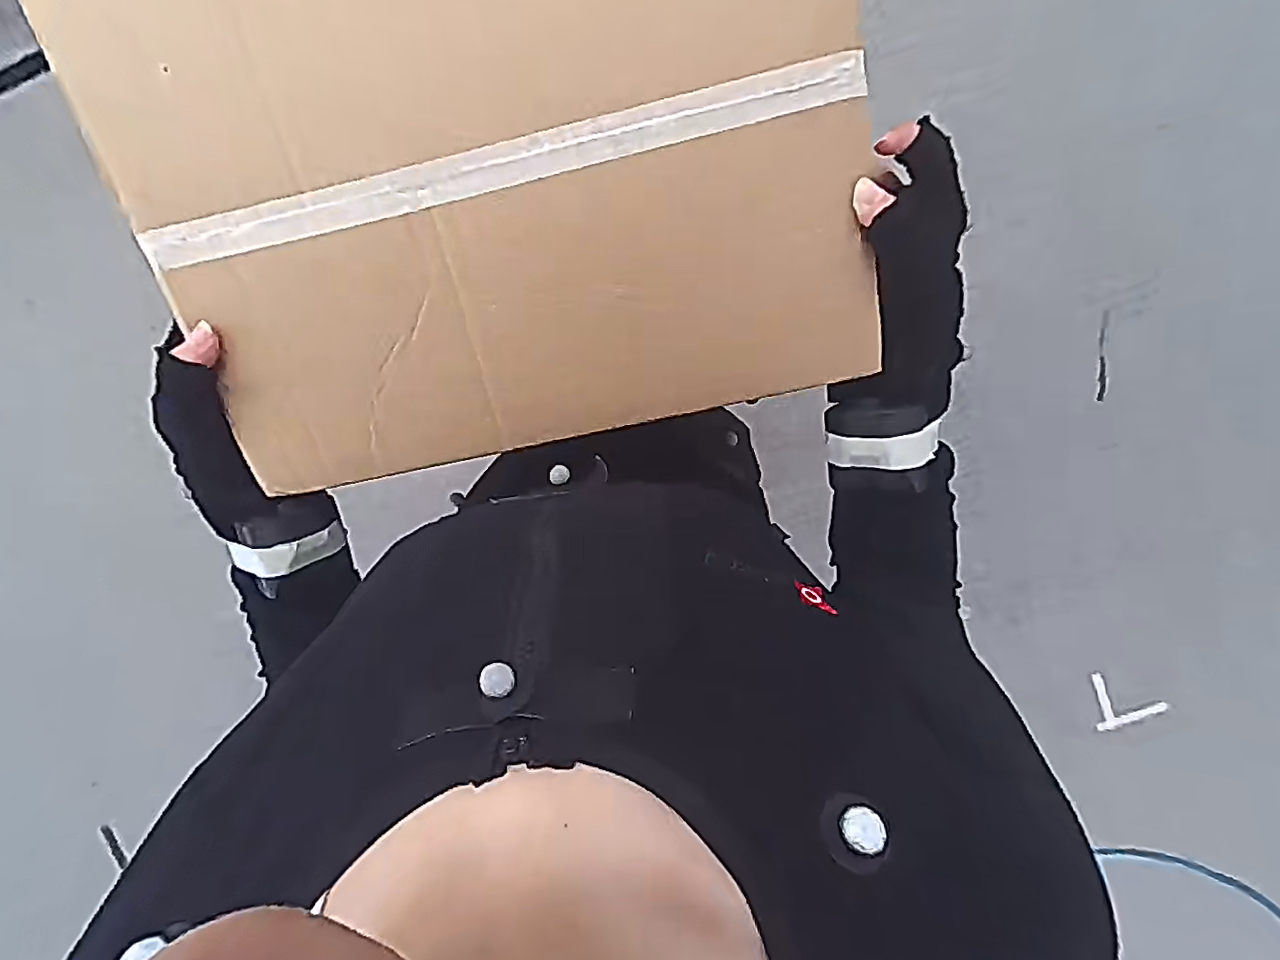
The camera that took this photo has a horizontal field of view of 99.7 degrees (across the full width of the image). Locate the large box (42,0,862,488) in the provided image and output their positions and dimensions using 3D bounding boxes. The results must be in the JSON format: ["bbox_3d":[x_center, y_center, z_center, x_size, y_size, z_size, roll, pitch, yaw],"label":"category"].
[{"bbox_3d":[-0.084,-0.227,0.442,0.408,0.320,0.320,-11,110,5],"label":"large box"}]
